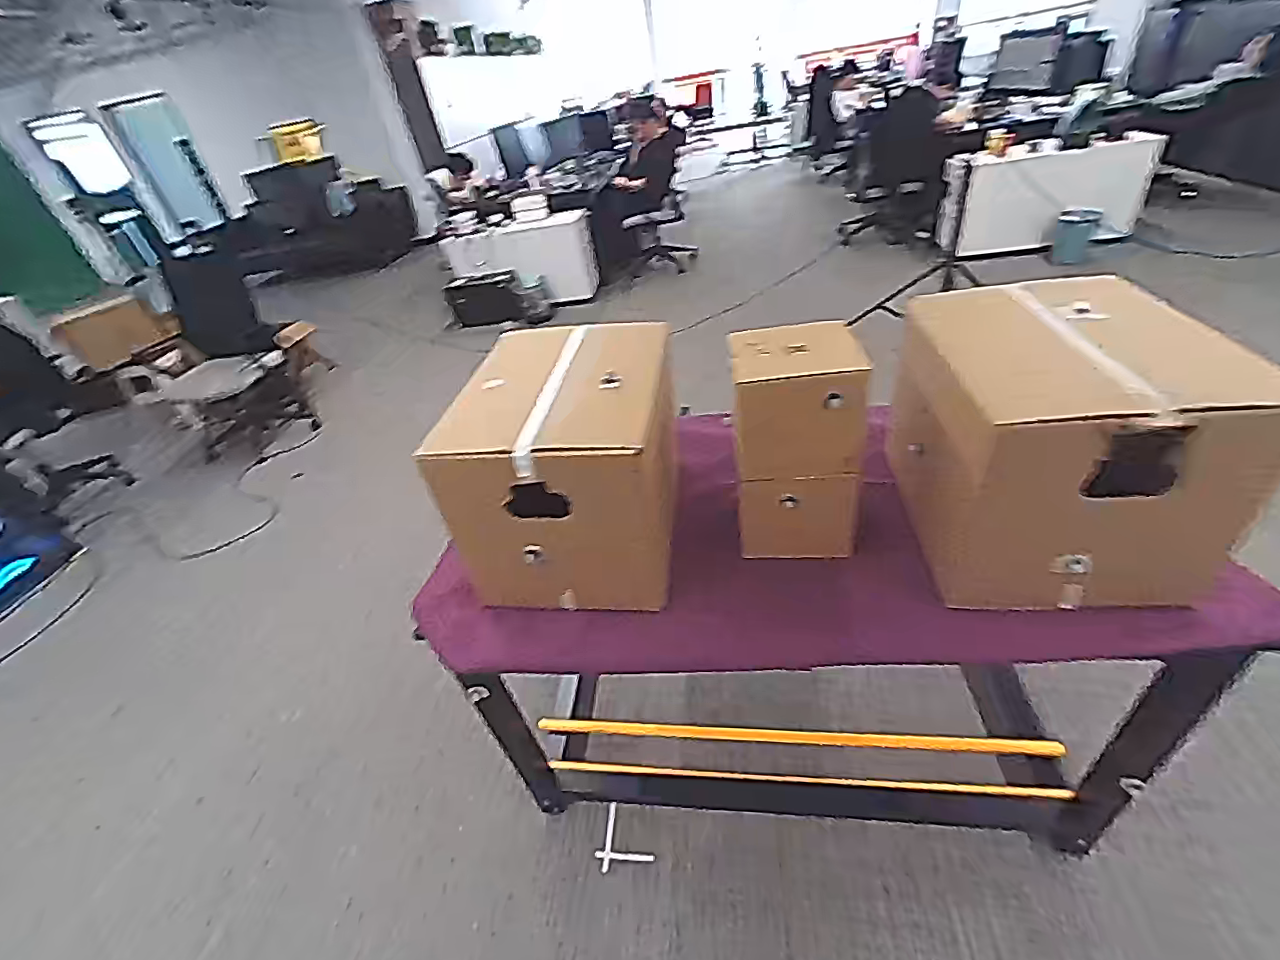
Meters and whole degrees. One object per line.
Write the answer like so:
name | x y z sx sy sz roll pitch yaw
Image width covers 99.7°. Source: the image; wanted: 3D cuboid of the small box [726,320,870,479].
small box | 0.224 -0.118 0.806 0.179 0.176 0.168 -5 36 8

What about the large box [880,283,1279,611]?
large box | 0.577 -0.061 0.802 0.320 0.320 0.408 -3 36 10
